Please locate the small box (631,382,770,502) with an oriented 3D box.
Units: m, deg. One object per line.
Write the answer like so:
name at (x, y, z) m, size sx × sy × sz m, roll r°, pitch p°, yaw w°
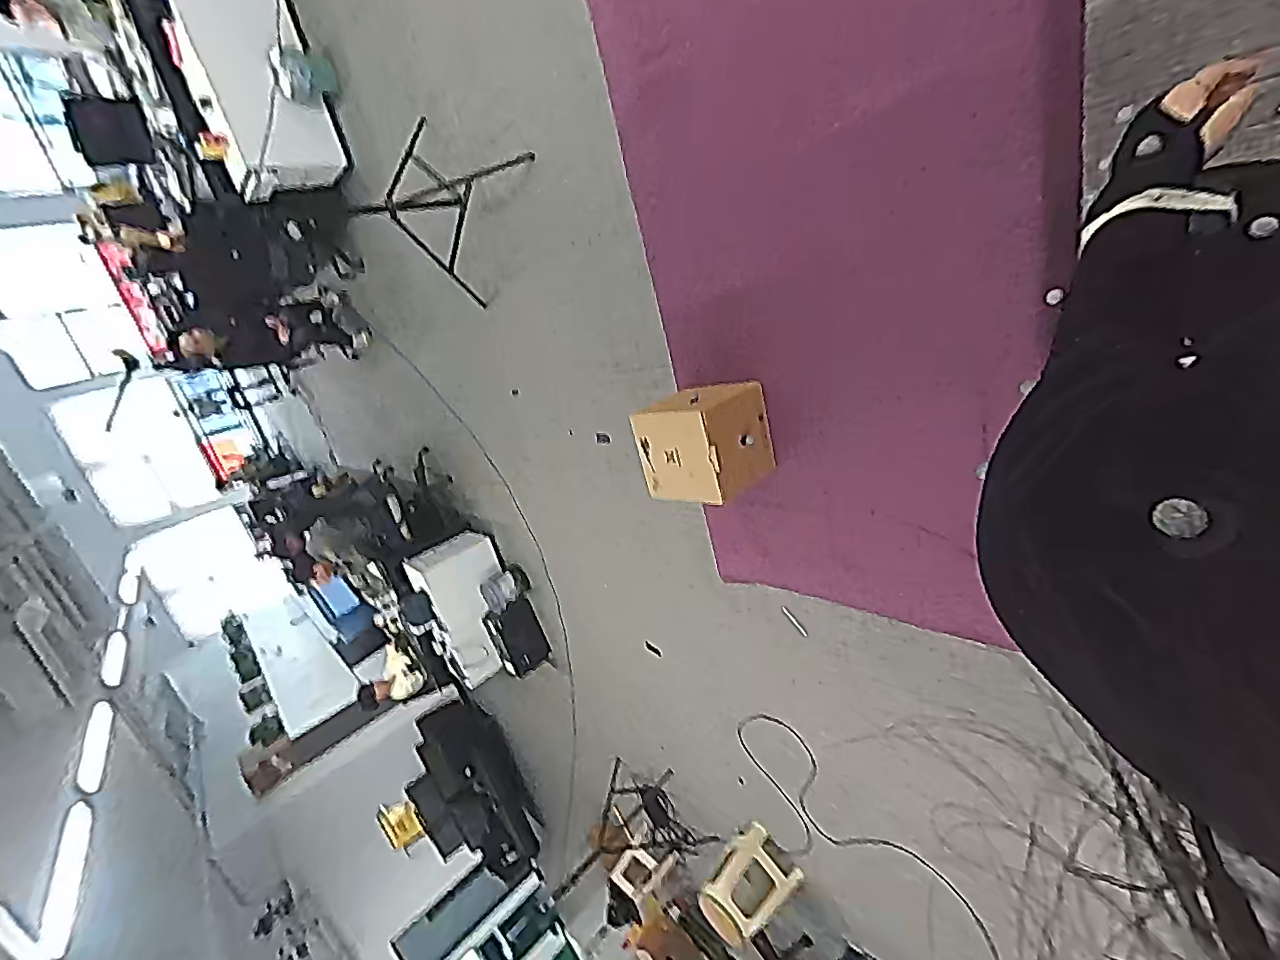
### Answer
small box at (0.117, -0.073, 0.976) m, size 0.179 × 0.176 × 0.168 m, roll 4°, pitch 116°, yaw 47°
